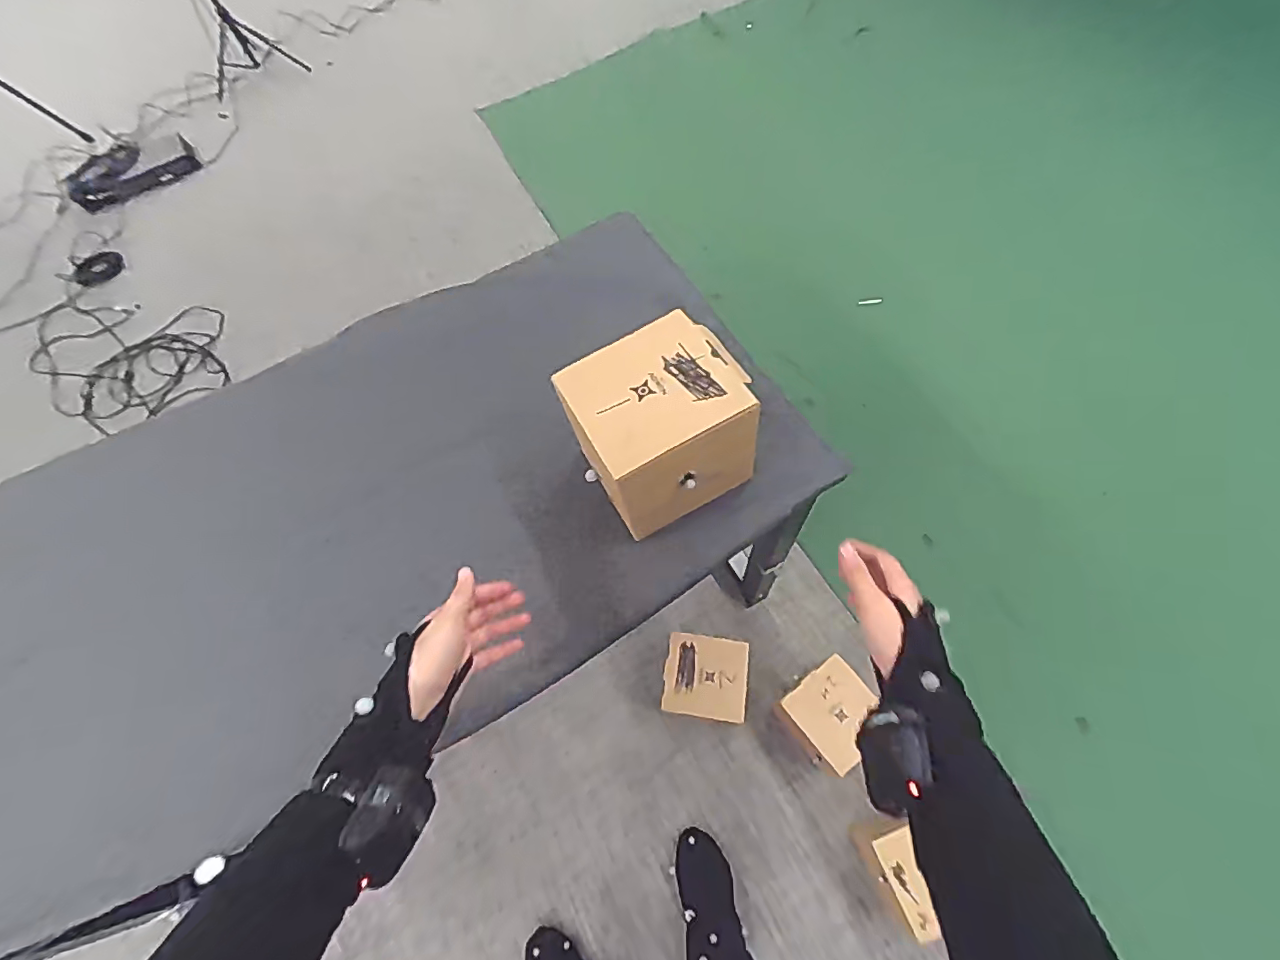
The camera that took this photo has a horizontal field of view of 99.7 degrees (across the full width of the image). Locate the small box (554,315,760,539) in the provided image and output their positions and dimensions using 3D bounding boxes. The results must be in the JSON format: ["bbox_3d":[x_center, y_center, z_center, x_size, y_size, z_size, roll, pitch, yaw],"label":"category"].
[{"bbox_3d":[0.023,-0.058,0.656,0.179,0.176,0.168,-28,61,-7],"label":"small box"}]

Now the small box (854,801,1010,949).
[{"bbox_3d":[0.546,0.743,1.040,0.179,0.176,0.168,-21,66,-4],"label":"small box"}]

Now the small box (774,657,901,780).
[{"bbox_3d":[0.414,0.508,1.164,0.168,0.176,0.179,-36,67,-11],"label":"small box"}]
